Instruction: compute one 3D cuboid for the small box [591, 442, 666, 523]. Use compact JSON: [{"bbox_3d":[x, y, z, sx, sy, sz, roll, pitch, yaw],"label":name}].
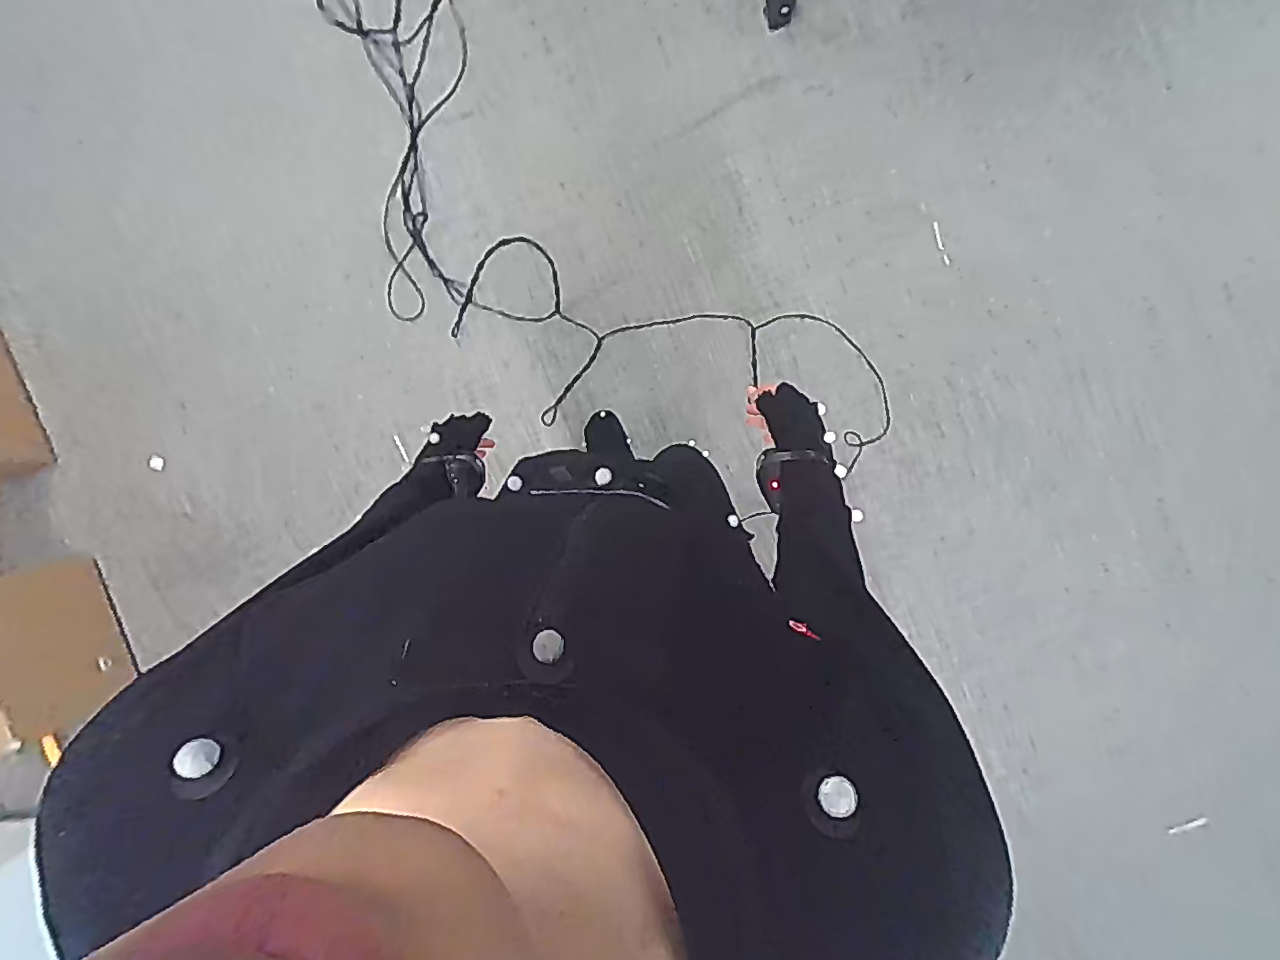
[{"bbox_3d":[-0.036,0.002,1.418,0.168,0.176,0.179,4,100,-10],"label":"small box"}]
